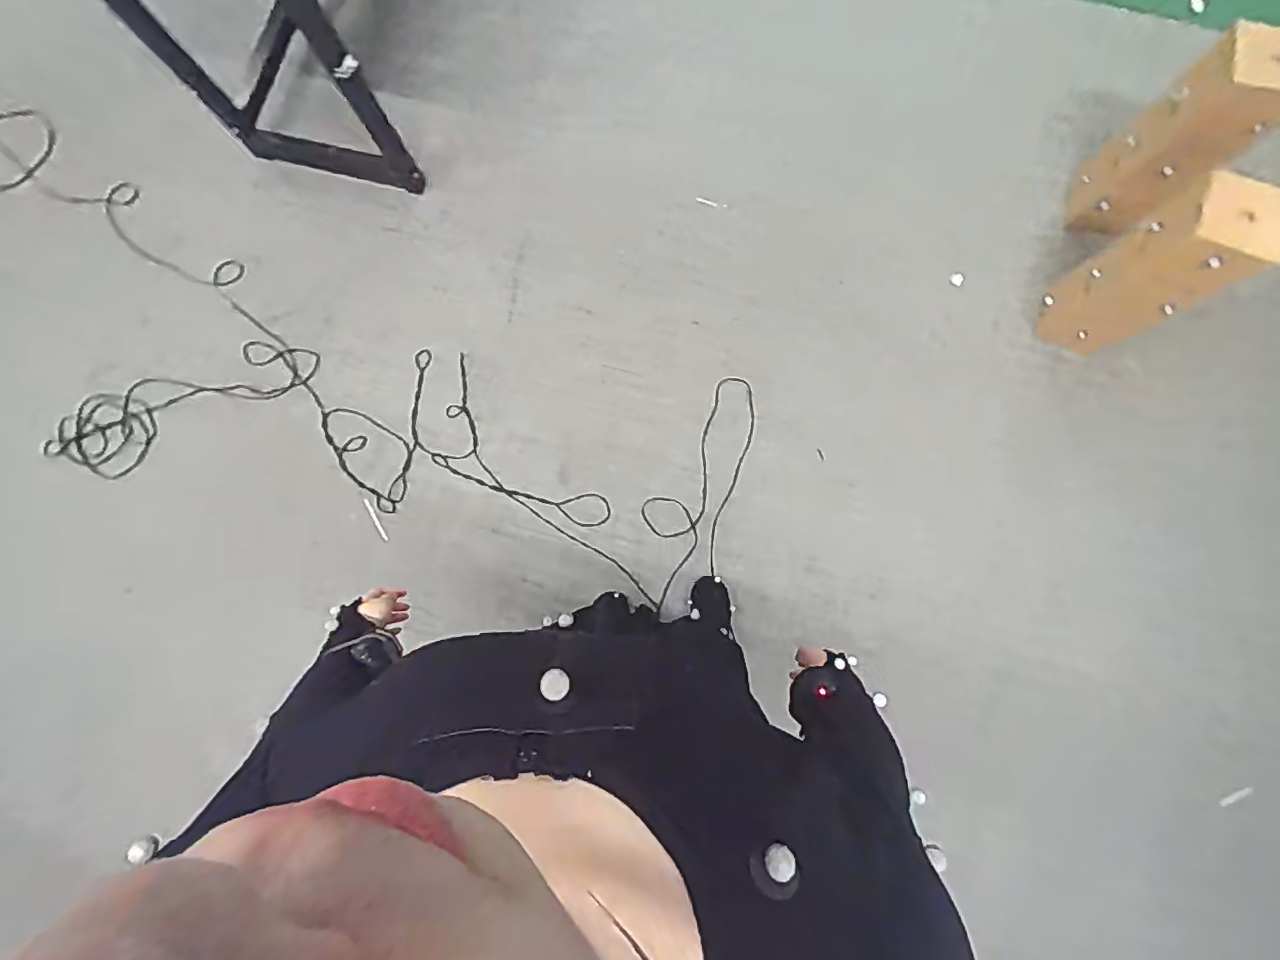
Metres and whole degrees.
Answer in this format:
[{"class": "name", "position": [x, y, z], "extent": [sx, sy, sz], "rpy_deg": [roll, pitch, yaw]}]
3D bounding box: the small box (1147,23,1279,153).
[{"class": "small box", "position": [1.347, -0.901, 1.256], "extent": [0.179, 0.176, 0.168], "rpy_deg": [13, 80, 3]}]

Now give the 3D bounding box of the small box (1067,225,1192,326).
[{"class": "small box", "position": [1.241, -0.512, 1.365], "extent": [0.179, 0.176, 0.168], "rpy_deg": [19, 82, 4]}]

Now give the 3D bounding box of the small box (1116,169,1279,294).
[{"class": "small box", "position": [1.234, -0.542, 1.205], "extent": [0.179, 0.176, 0.168], "rpy_deg": [21, 83, 5]}]

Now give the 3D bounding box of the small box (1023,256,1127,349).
[{"class": "small box", "position": [1.241, -0.492, 1.528], "extent": [0.179, 0.176, 0.168], "rpy_deg": [21, 82, 5]}]
